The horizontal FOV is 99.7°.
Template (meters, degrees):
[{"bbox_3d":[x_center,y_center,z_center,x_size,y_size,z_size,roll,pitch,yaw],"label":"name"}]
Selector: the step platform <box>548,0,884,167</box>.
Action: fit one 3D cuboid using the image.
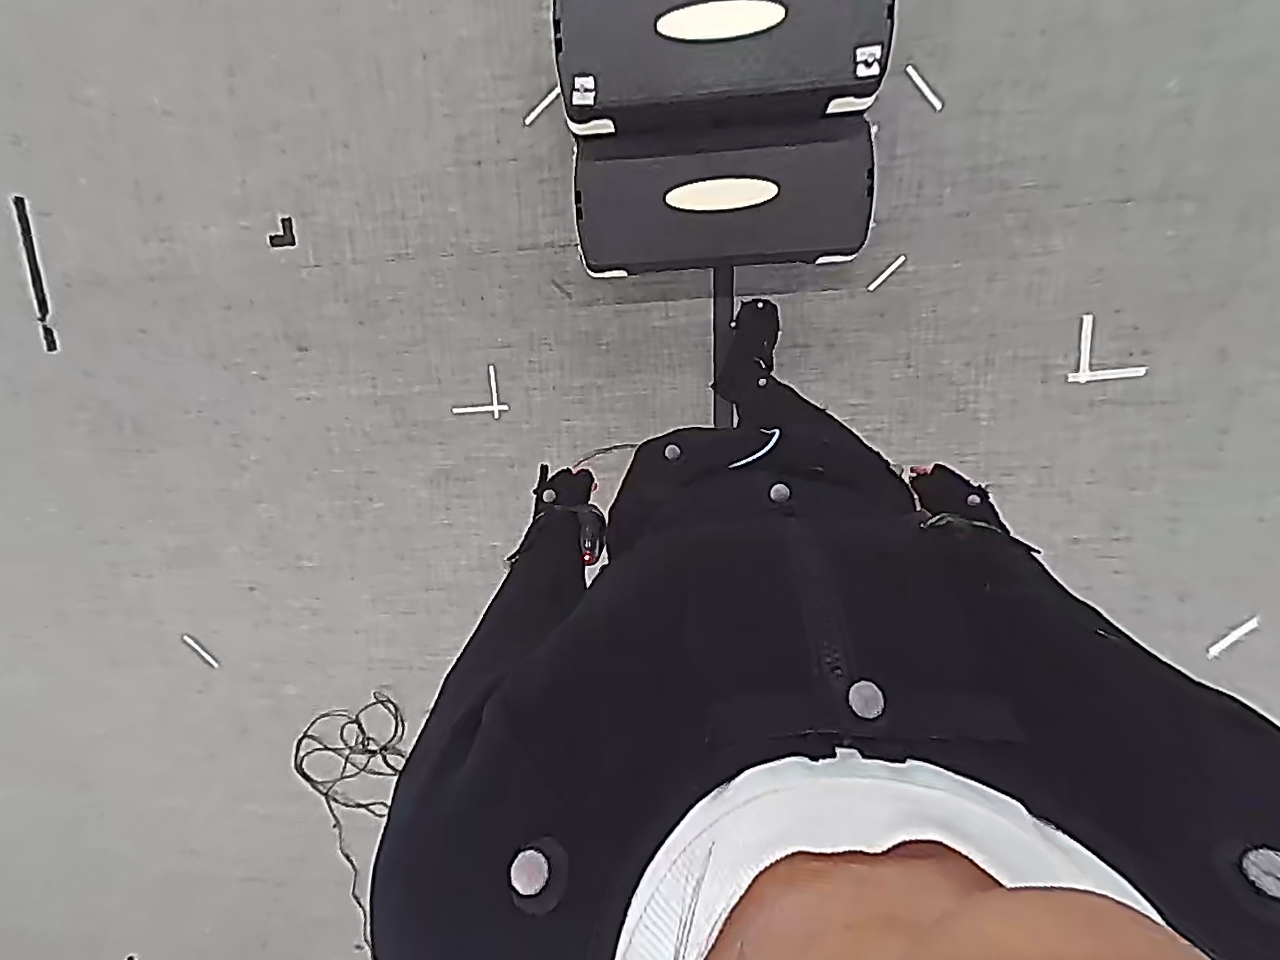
[{"bbox_3d":[0.149,-0.884,1.155,0.684,0.204,0.286,-3,102,4],"label":"step platform"}]
